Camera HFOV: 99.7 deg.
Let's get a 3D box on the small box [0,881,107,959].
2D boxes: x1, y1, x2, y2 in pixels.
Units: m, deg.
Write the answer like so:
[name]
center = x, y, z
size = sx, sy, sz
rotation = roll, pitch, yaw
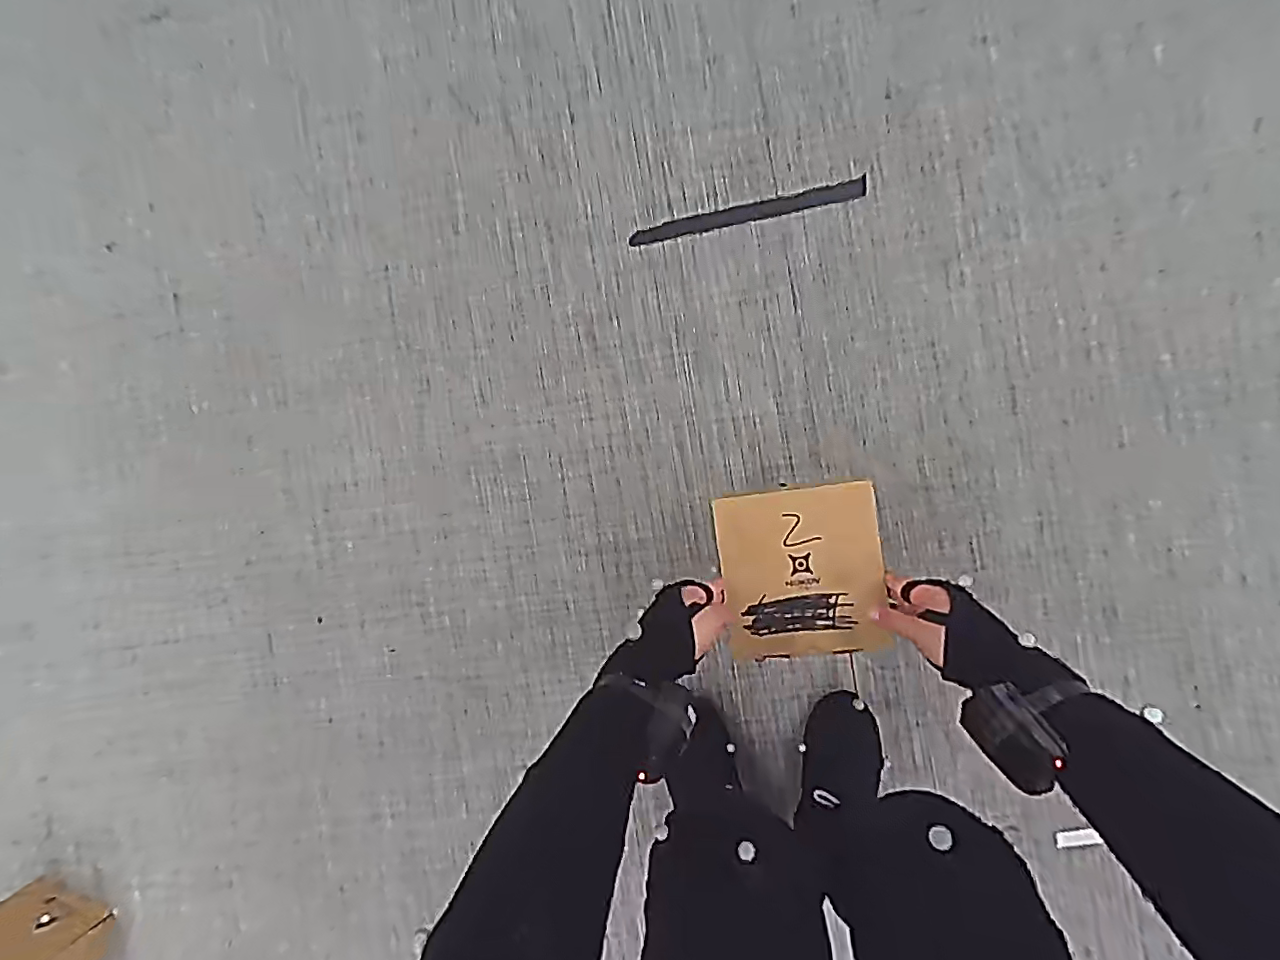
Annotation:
[small box]
center = -1.041, 0.821, 0.885
size = 0.168, 0.176, 0.179
rotation = 17, 91, 7
